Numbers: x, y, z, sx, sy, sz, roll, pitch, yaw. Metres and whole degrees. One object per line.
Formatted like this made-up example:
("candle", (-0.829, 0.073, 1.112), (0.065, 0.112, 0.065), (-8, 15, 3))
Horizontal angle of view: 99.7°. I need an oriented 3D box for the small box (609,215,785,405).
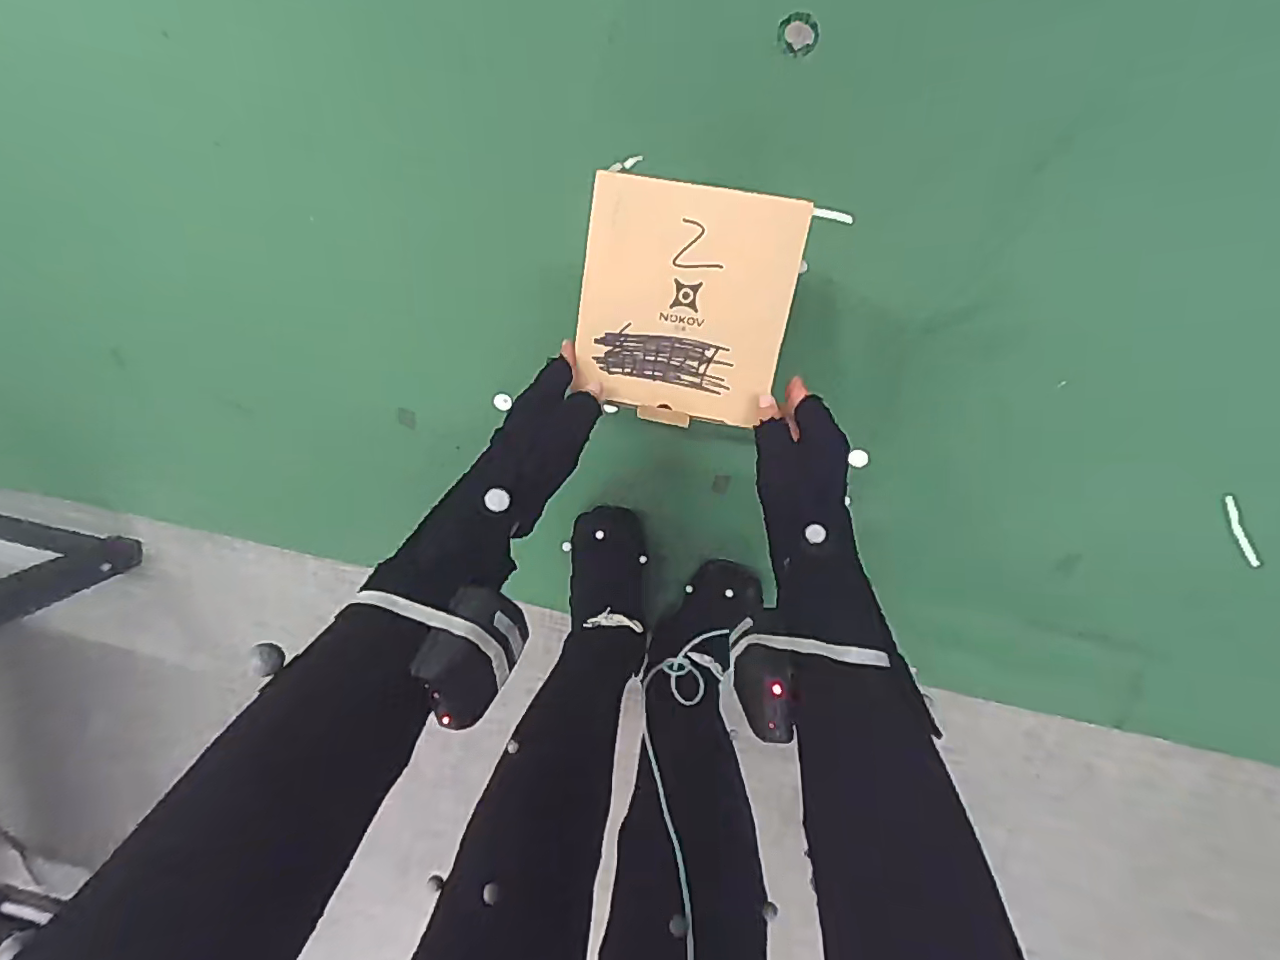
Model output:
("small box", (0.069, -0.205, 0.667), (0.168, 0.176, 0.179), (12, 107, 4))
